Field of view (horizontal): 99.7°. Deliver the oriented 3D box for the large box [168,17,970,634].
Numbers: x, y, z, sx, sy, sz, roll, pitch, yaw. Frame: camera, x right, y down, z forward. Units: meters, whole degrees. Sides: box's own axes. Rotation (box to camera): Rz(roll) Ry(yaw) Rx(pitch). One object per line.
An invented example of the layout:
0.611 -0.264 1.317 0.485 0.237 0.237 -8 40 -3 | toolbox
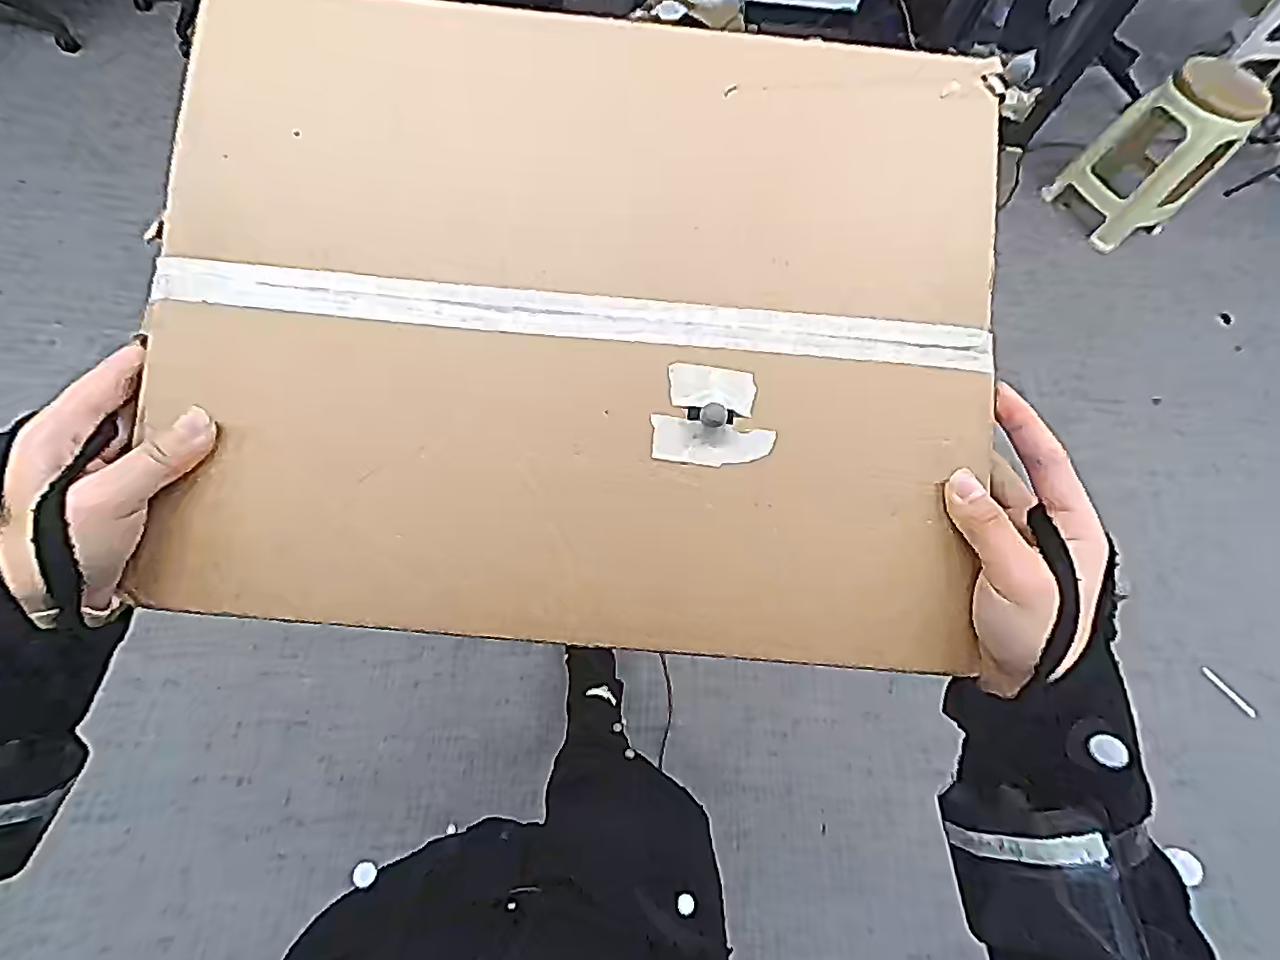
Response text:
-0.031 -0.074 0.432 0.408 0.320 0.320 5 86 -1 | large box
